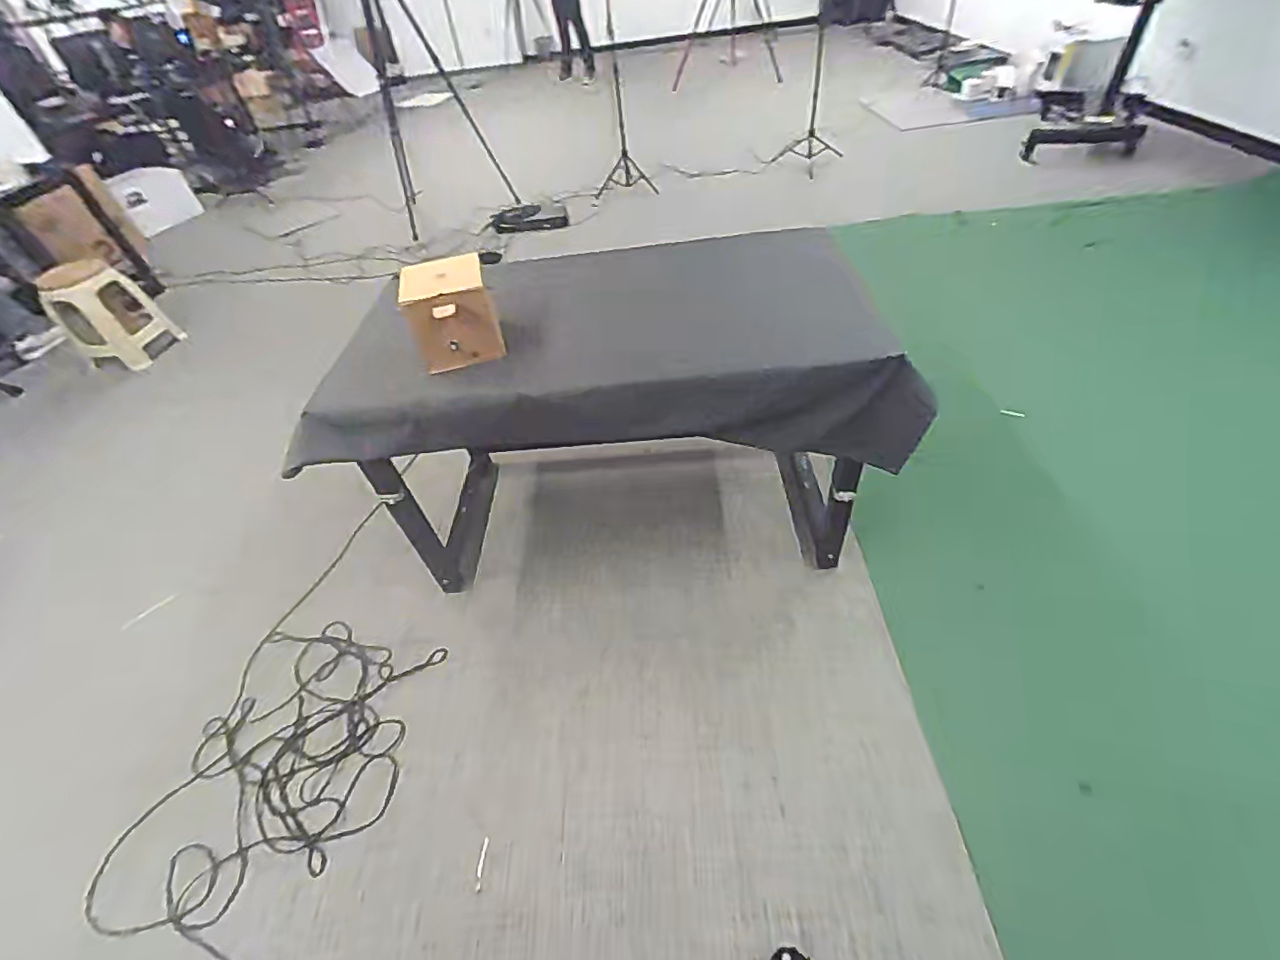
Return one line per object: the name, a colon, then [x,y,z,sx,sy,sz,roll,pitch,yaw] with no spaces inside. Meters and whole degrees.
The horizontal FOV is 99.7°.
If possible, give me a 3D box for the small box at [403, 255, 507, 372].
small box: [-0.395,-0.358,1.169,0.168,0.176,0.179,-15,46,-7]
